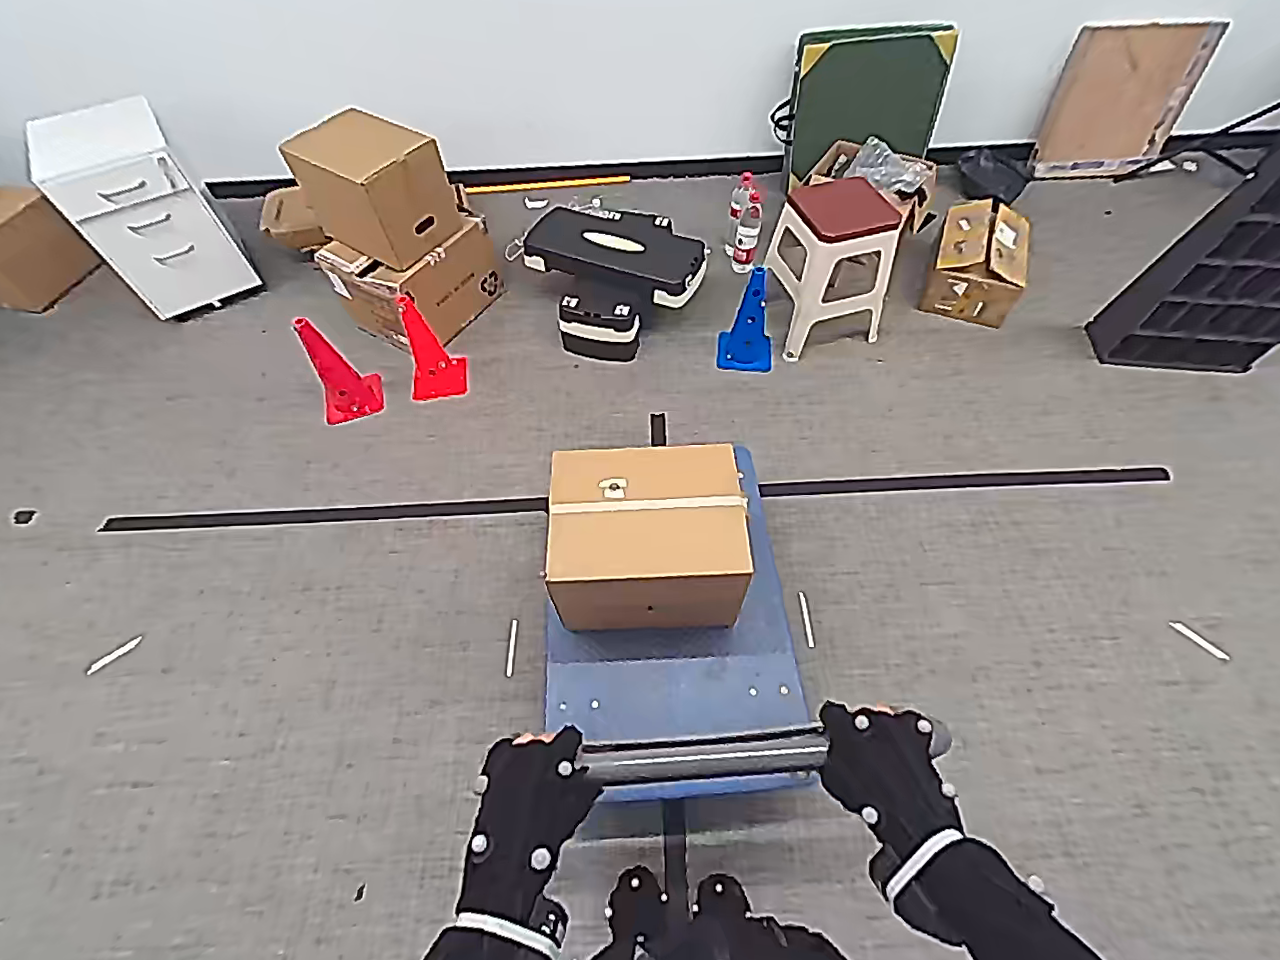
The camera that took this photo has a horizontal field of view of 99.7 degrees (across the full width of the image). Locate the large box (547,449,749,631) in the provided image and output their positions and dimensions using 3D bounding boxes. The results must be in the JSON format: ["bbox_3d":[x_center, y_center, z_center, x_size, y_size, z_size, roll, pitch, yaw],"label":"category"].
[{"bbox_3d":[0.015,0.150,1.260,0.408,0.320,0.320,-3,57,1],"label":"large box"}]
